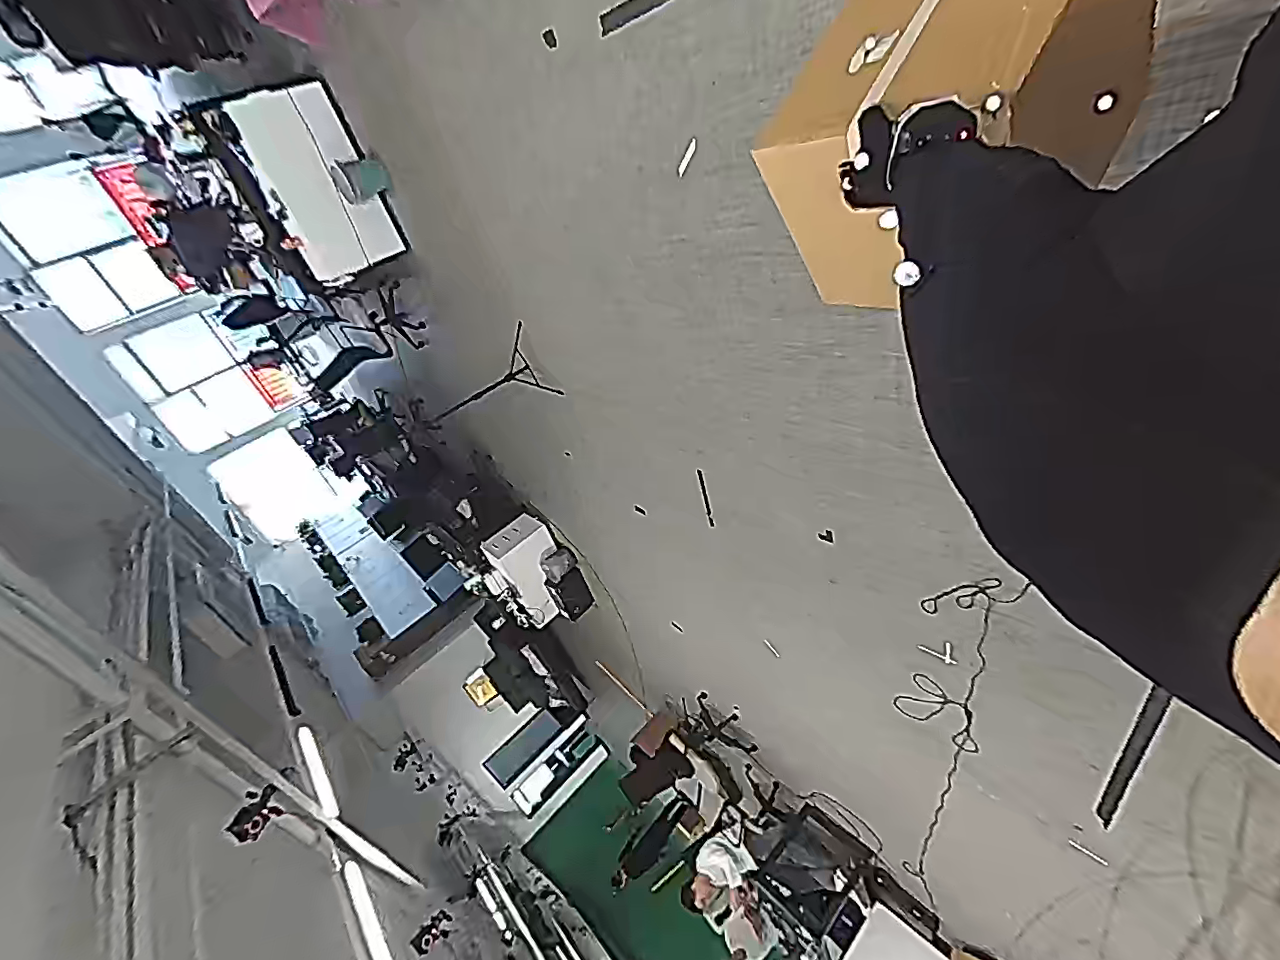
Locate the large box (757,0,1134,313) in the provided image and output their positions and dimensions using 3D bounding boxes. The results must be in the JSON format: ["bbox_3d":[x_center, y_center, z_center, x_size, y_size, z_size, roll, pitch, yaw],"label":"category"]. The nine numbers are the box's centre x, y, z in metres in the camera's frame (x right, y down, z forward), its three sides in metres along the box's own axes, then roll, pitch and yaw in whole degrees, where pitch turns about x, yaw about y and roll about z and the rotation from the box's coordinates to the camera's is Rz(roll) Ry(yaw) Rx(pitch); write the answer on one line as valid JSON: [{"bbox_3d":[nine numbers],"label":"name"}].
[{"bbox_3d":[0.441,-0.505,0.771,0.320,0.408,0.320,24,171,46],"label":"large box"}]
